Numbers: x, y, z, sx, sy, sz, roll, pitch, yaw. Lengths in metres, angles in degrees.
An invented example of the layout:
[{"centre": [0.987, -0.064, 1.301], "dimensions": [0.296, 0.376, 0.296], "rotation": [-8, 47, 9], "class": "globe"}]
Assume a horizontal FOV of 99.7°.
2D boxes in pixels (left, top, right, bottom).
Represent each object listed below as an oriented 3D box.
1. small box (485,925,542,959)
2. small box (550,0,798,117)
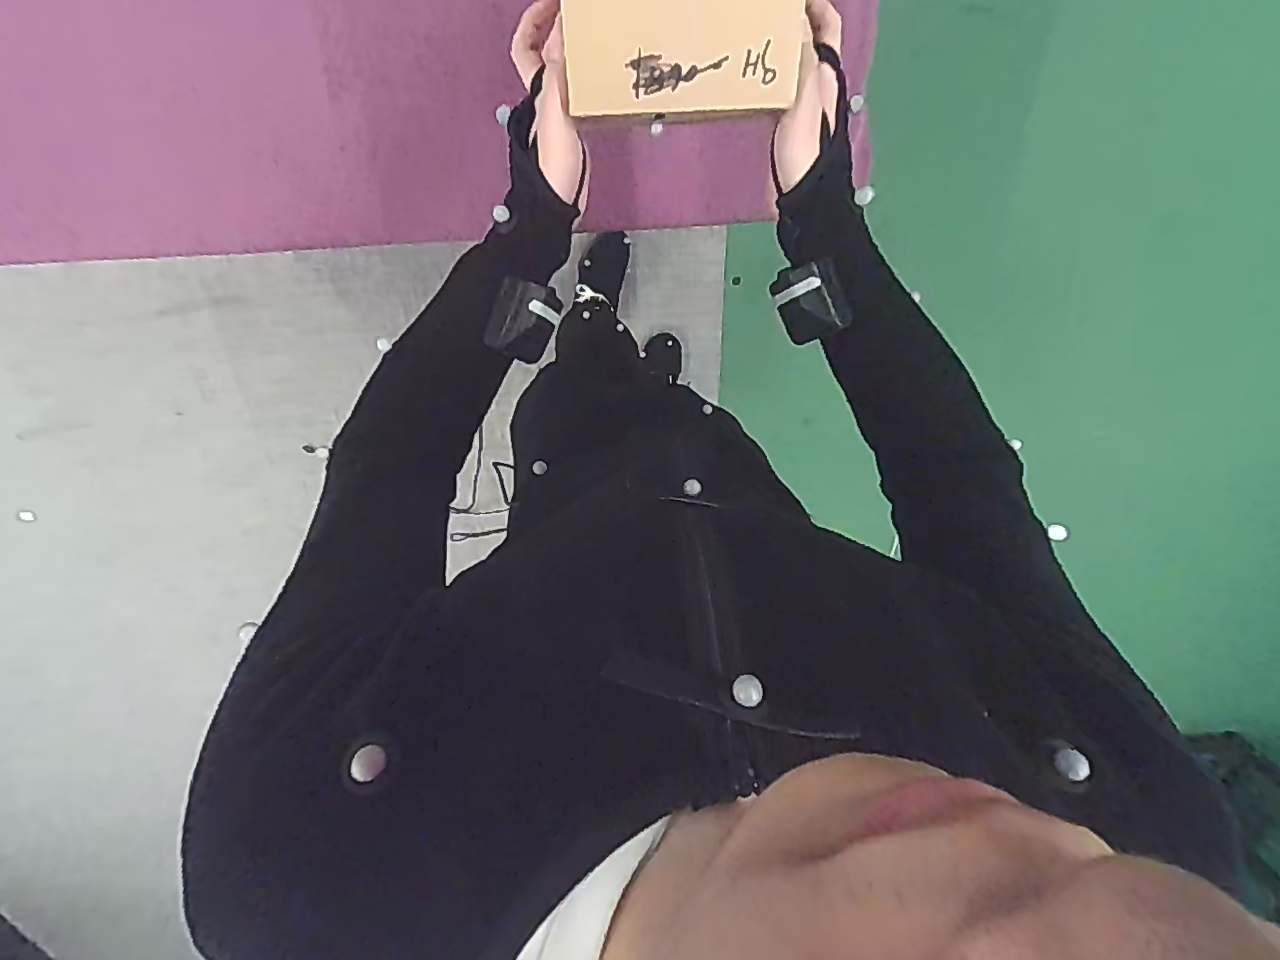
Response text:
[{"centre": [-0.404, 1.556, 1.718], "dimensions": [0.168, 0.176, 0.179], "rotation": [0, 118, -5], "class": "small box"}, {"centre": [0.018, -0.384, 0.403], "dimensions": [0.168, 0.176, 0.179], "rotation": [-2, 121, -1], "class": "small box"}]
